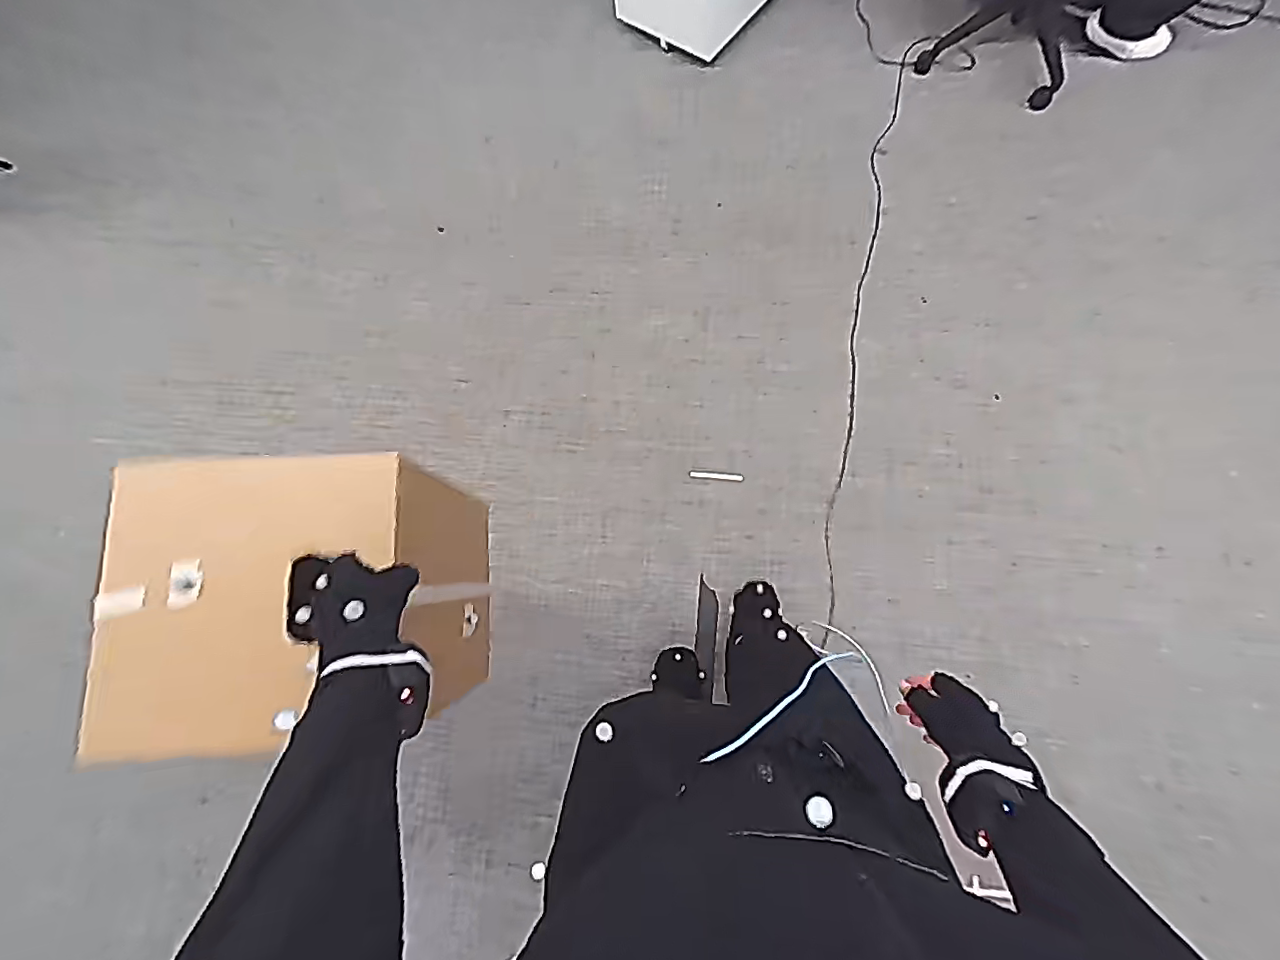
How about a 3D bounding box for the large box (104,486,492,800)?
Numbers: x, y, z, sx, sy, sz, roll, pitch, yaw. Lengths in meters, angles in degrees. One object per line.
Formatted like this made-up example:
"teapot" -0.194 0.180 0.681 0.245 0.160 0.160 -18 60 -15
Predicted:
"large box" -0.417 0.202 0.768 0.320 0.408 0.320 -3 78 -3
